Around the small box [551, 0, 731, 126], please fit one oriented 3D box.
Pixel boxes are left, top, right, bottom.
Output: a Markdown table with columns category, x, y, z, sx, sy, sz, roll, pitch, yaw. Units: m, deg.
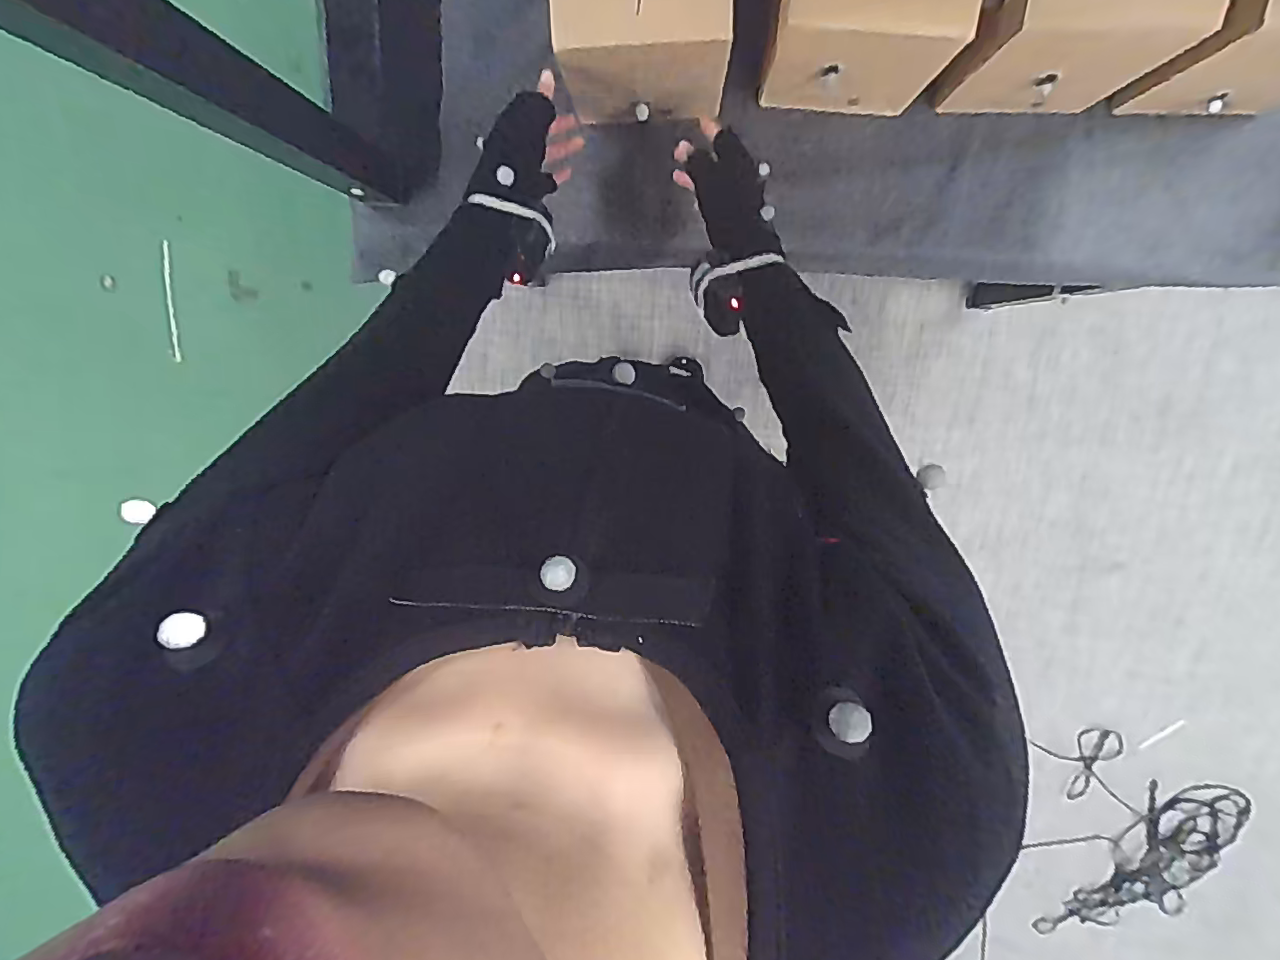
| category | x | y | z | sx | sy | sz | roll | pitch | yaw |
| --- | --- | --- | --- | --- | --- | --- | --- | --- | --- |
| small box | 0.002 | -0.497 | 0.556 | 0.168 | 0.176 | 0.179 | -1 | 103 | 4 |
